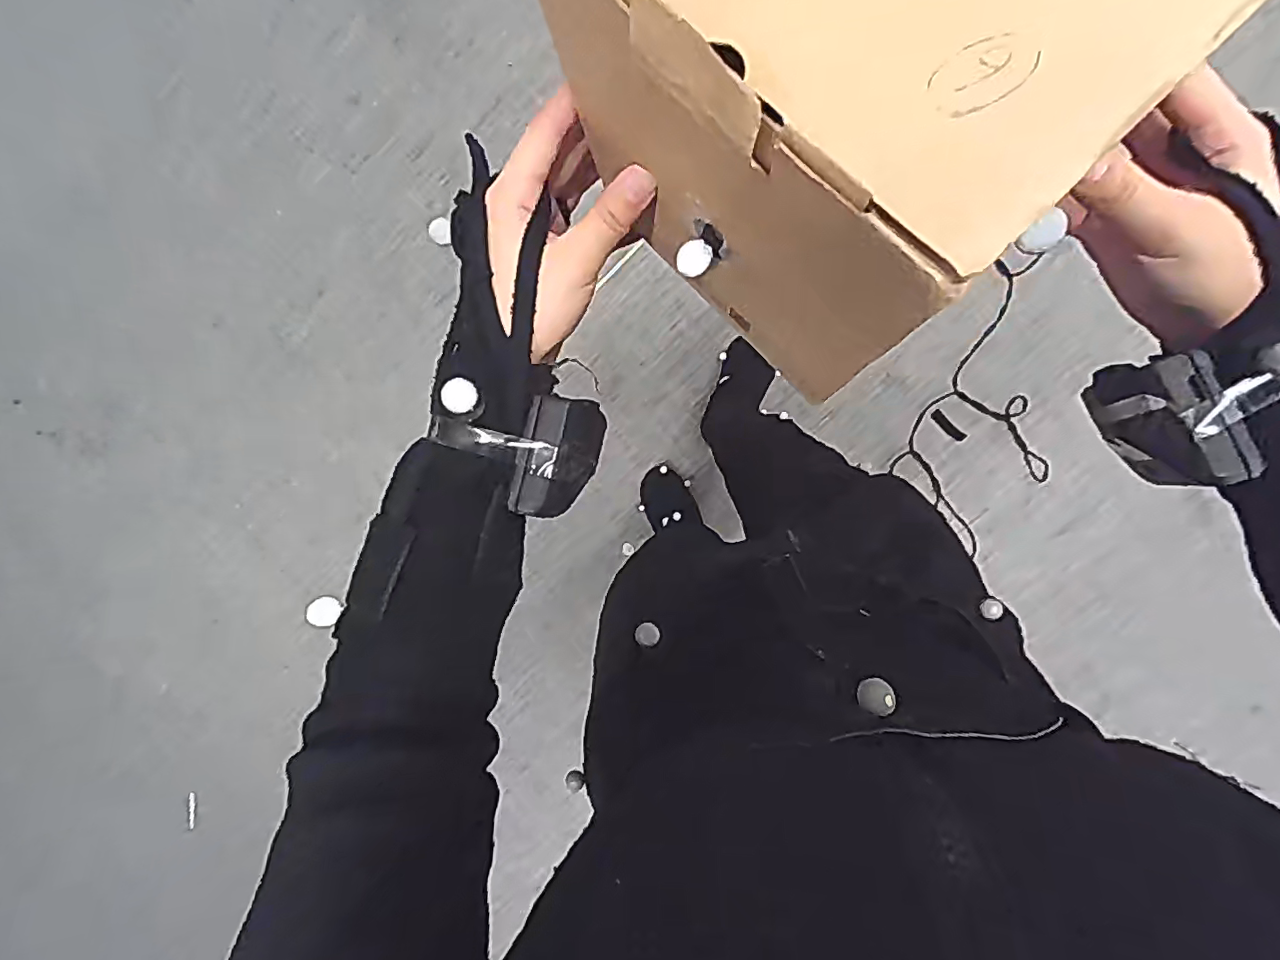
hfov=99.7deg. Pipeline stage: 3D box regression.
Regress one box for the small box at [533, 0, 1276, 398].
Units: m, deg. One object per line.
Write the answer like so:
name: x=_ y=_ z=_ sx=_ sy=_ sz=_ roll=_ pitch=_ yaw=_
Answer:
small box: x=0.092 y=-0.155 z=0.217 sx=0.179 sy=0.176 sz=0.168 roll=-45 pitch=83 yaw=5
